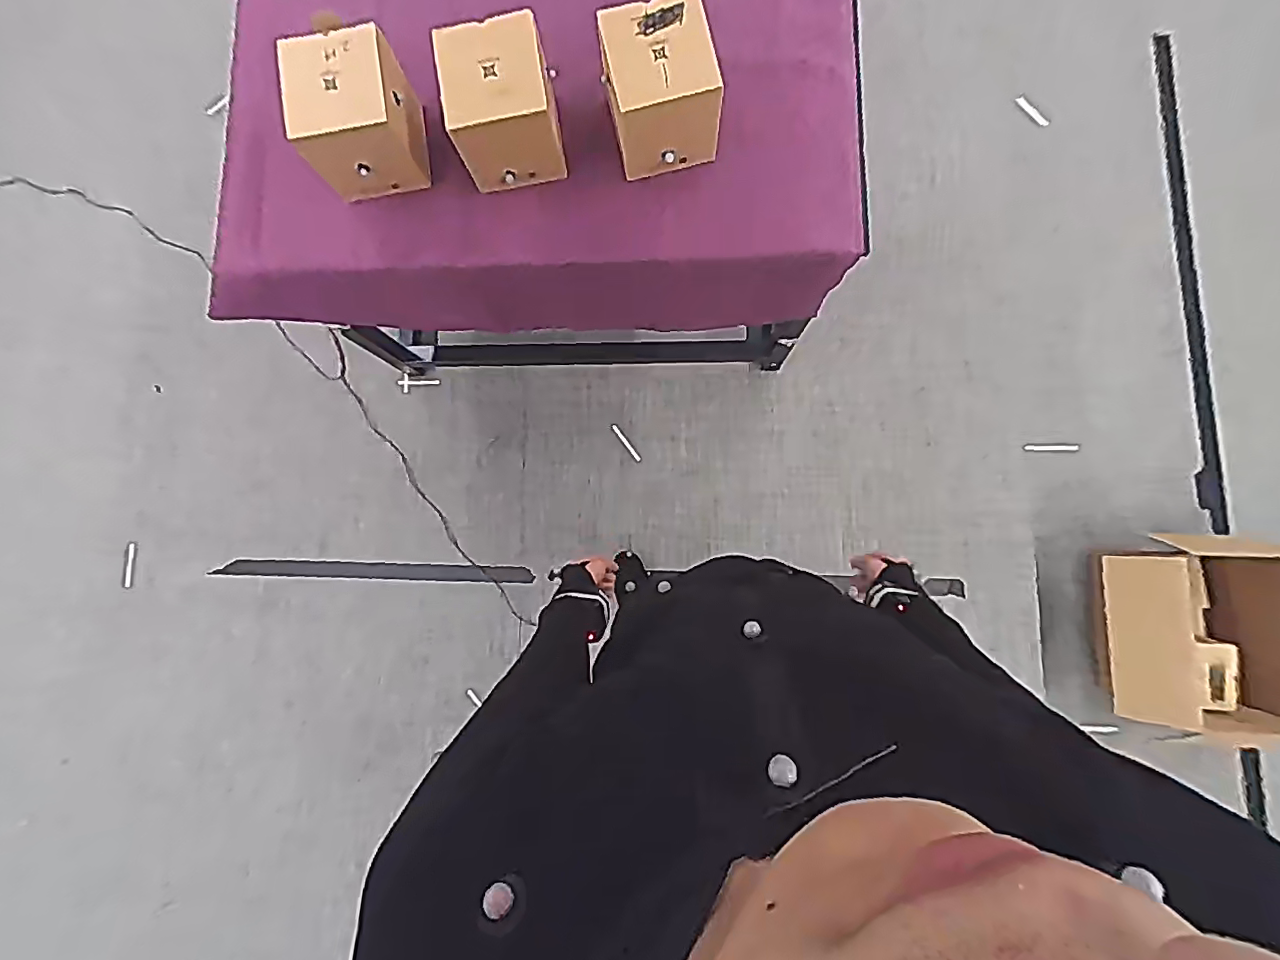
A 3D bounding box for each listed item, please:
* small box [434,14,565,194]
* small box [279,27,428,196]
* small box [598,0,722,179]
[{"bbox_3d":[-0.233,-0.634,0.929,0.168,0.176,0.179,-10,84,3],"label":"small box"},{"bbox_3d":[-0.485,-0.623,0.940,0.168,0.176,0.179,-9,83,1],"label":"small box"},{"bbox_3d":[0.033,-0.656,0.915,0.168,0.176,0.179,-13,84,2],"label":"small box"}]
